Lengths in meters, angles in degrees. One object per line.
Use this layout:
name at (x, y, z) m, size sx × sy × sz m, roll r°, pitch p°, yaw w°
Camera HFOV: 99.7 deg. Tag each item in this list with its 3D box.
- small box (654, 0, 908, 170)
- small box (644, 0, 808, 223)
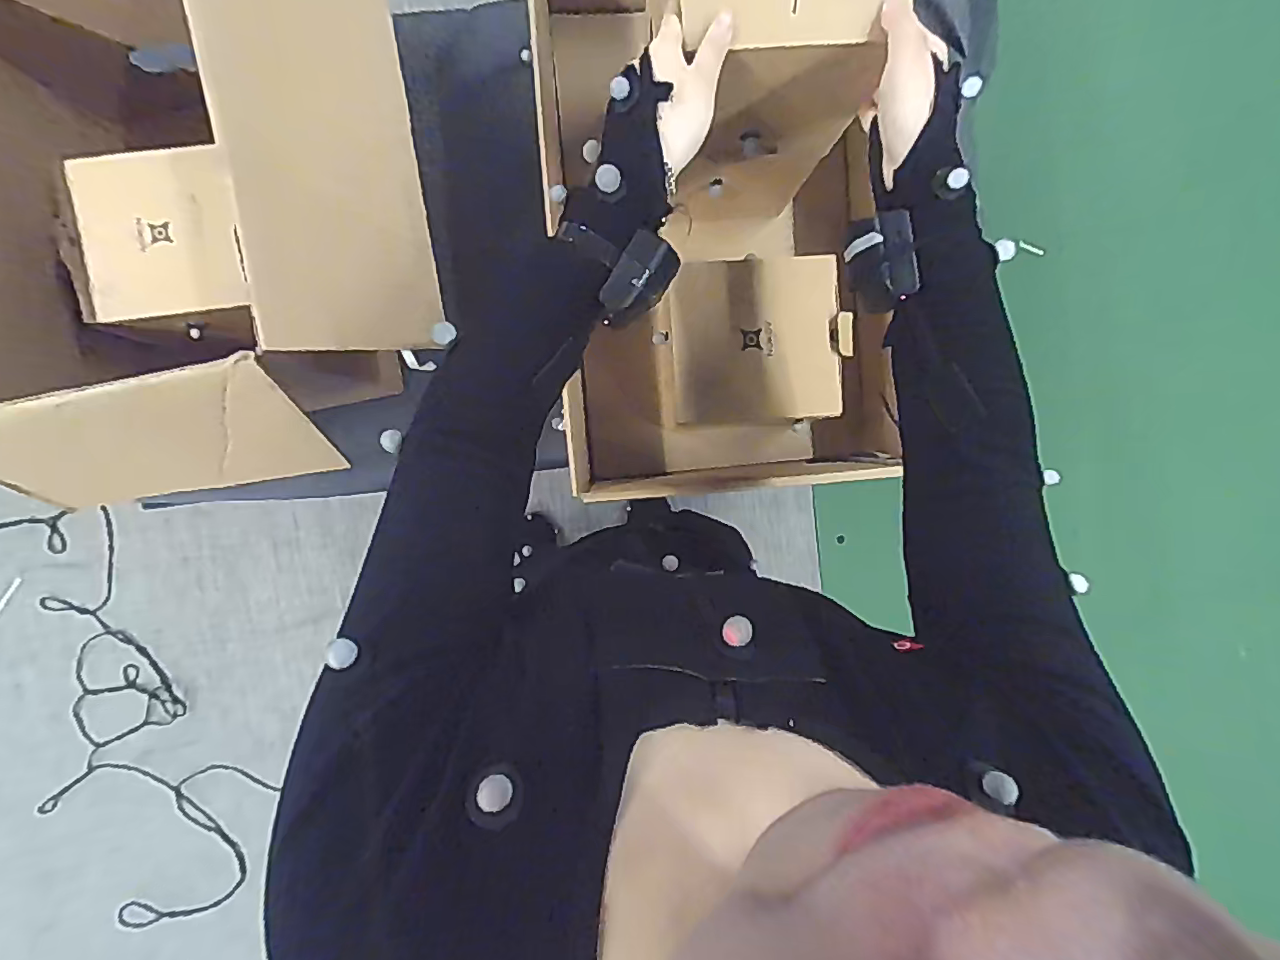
small box at (0.102, -0.394, 0.457) m, size 0.168 × 0.176 × 0.179 m, roll -4°, pitch 96°, yaw -1°
small box at (0.095, -0.411, 0.620) m, size 0.179 × 0.176 × 0.168 m, roll -4°, pitch 95°, yaw -1°
